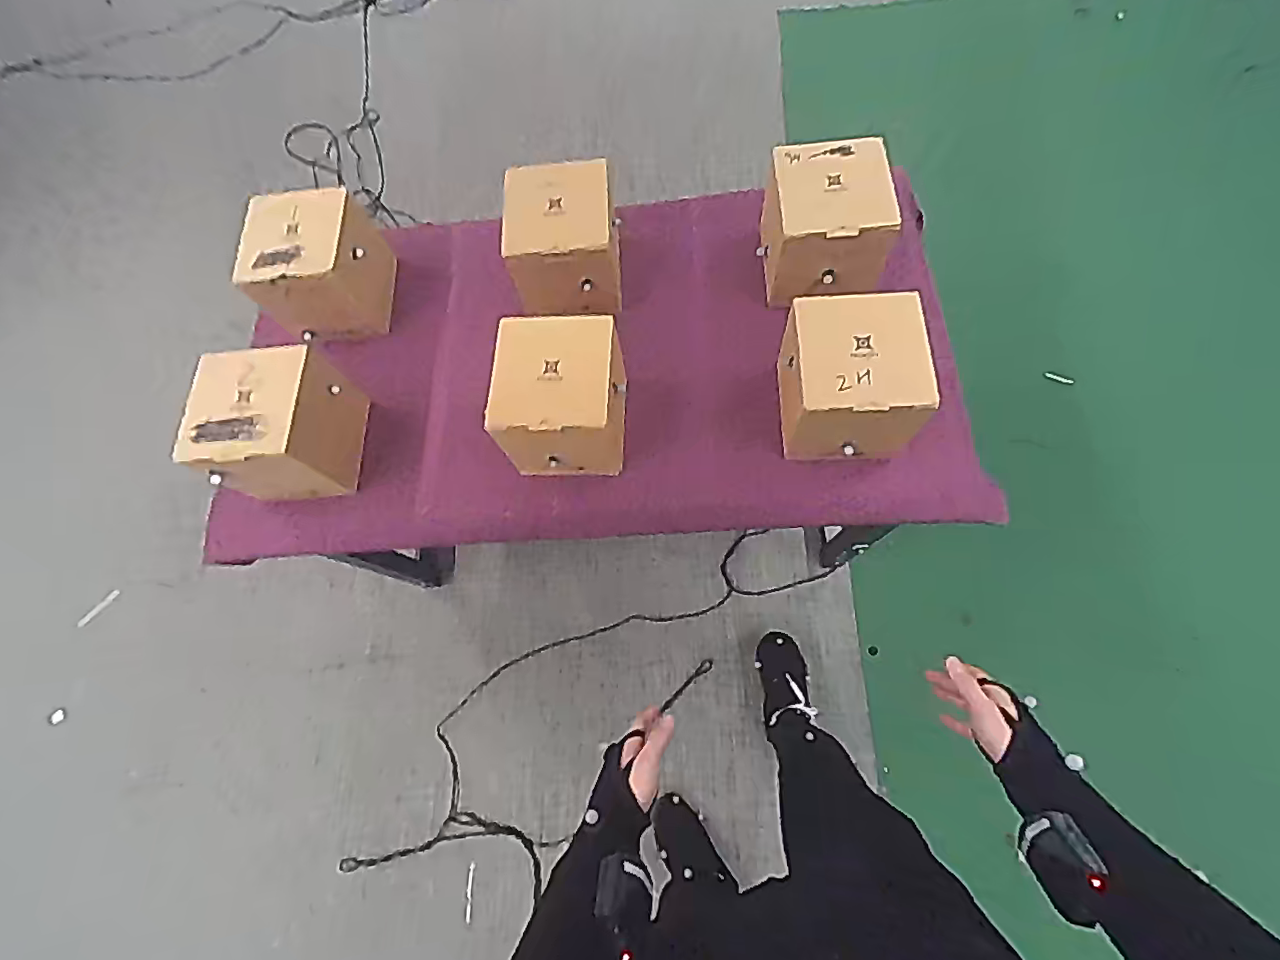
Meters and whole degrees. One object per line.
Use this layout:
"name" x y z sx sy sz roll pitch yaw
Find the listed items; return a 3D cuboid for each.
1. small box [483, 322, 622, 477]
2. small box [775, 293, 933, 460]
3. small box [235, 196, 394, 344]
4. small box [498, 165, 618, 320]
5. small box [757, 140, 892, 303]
"small box" -0.119 -0.115 0.814 0.168 0.176 0.179 0 70 5
"small box" 0.291 -0.140 0.776 0.168 0.176 0.179 -1 70 7
"small box" -0.551 -0.352 0.941 0.168 0.176 0.179 -5 70 3
"small box" -0.130 -0.388 0.913 0.168 0.176 0.179 -4 70 4
"small box" 0.284 -0.403 0.874 0.168 0.176 0.179 -3 71 5
